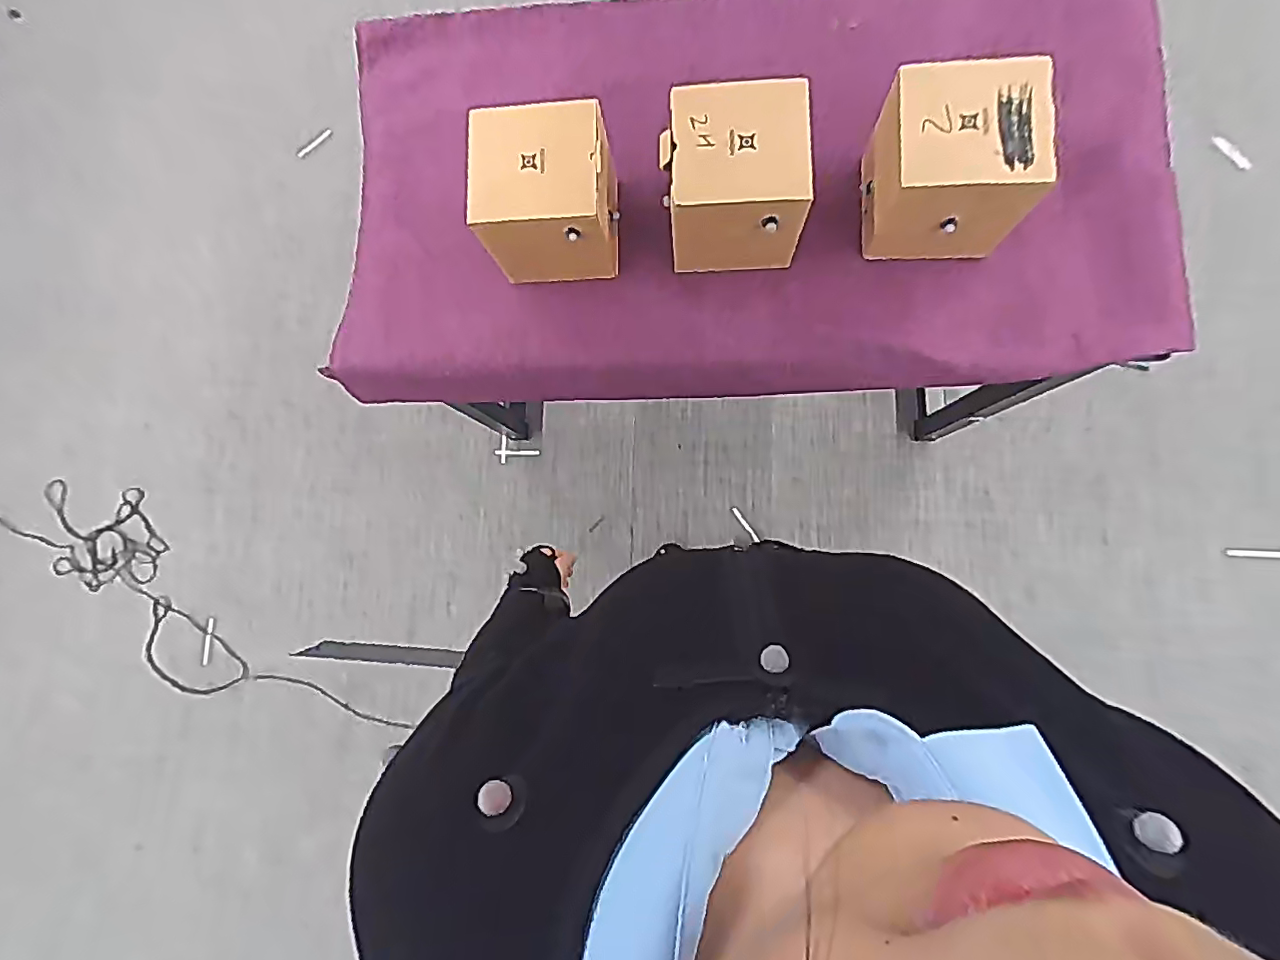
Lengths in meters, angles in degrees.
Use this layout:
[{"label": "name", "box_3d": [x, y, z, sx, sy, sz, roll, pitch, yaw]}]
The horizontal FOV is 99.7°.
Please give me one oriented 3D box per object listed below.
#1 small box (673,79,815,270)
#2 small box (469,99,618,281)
[{"label": "small box", "box_3d": [0.136, -0.411, 0.754, 0.179, 0.176, 0.168, -1, 83, 6]}, {"label": "small box", "box_3d": [-0.129, -0.403, 0.781, 0.179, 0.176, 0.168, -2, 83, 5]}]
